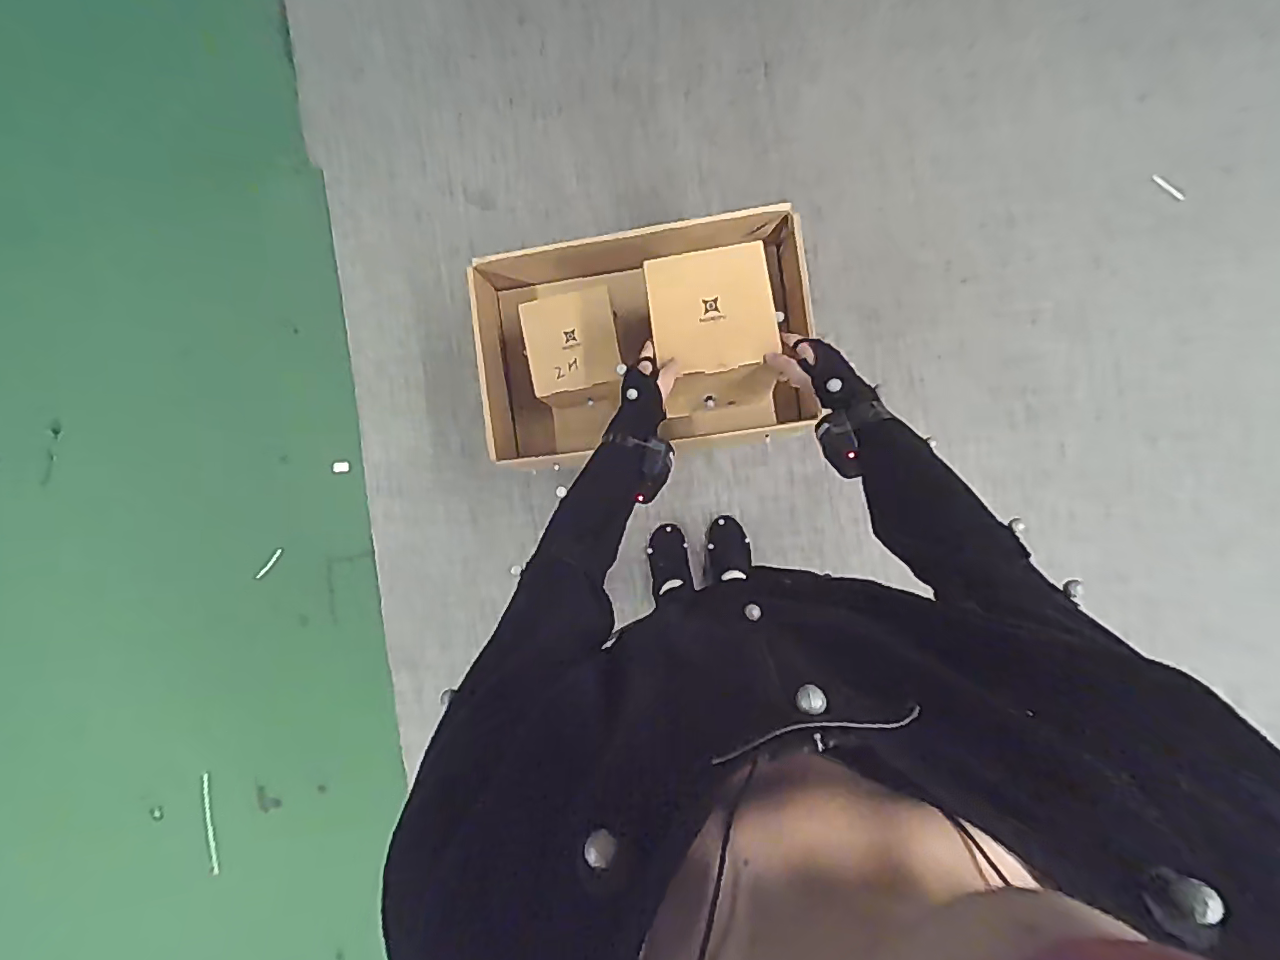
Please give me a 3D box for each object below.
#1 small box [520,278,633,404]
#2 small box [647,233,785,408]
[{"bbox_3d":[-0.114,-0.256,1.034,0.168,0.176,0.179,-11,89,5],"label":"small box"},{"bbox_3d":[0.103,-0.219,0.782,0.168,0.176,0.179,-7,80,5],"label":"small box"}]
